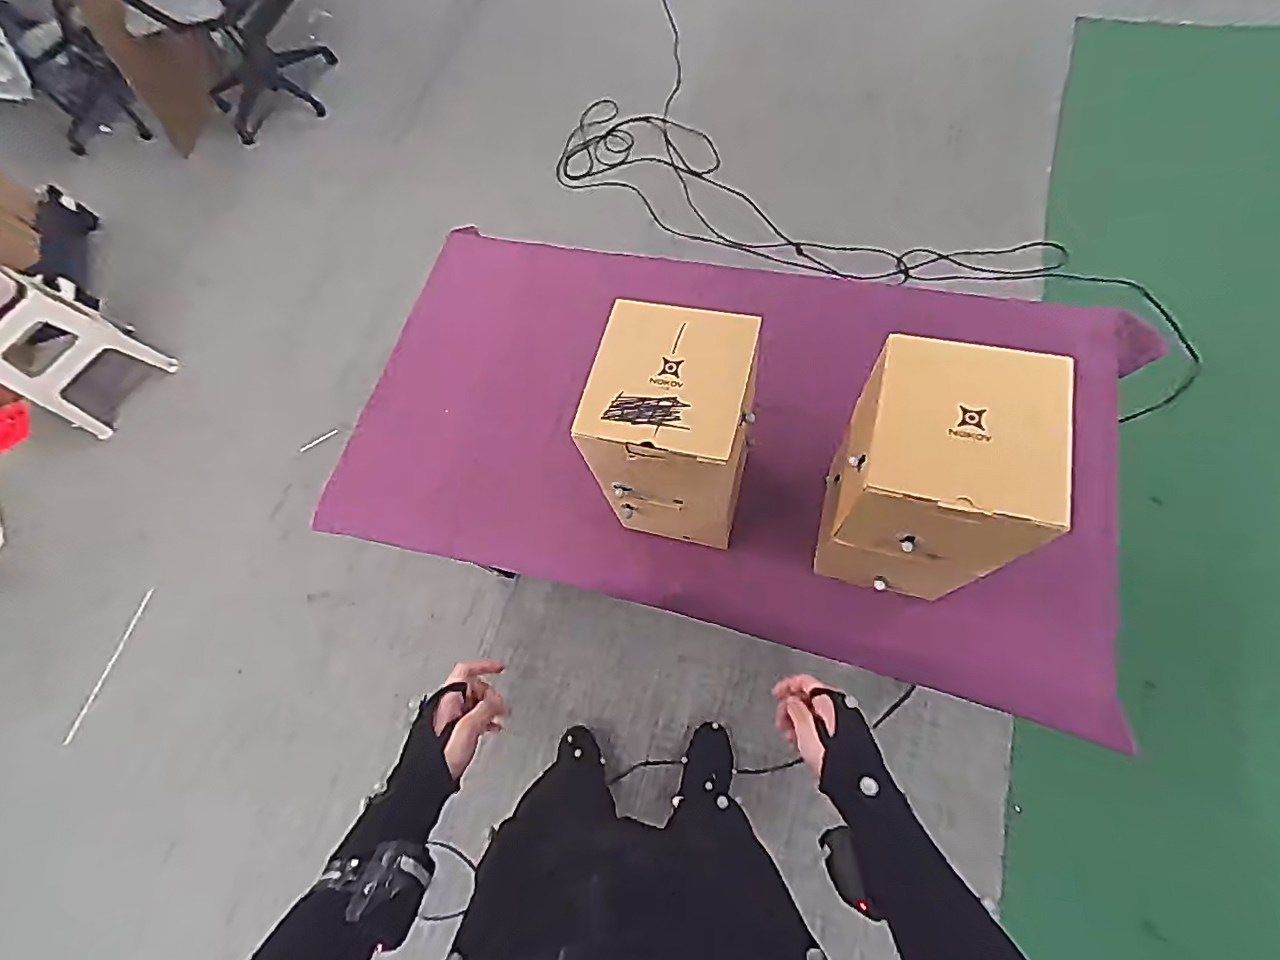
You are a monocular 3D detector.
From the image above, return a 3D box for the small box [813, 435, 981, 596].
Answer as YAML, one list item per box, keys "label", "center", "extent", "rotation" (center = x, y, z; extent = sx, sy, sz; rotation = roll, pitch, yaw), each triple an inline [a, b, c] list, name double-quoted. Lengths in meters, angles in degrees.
- label: "small box"
  center: [0.337, 0.040, 0.722]
  extent: [0.168, 0.176, 0.179]
  rotation: [13, 71, 13]

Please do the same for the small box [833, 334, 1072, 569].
- label: "small box"
  center: [0.314, -0.023, 0.573]
  extent: [0.168, 0.176, 0.179]
  rotation: [13, 71, 13]

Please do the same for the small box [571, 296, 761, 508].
- label: "small box"
  center: [0.040, -0.083, 0.635]
  extent: [0.168, 0.176, 0.179]
  rotation: [13, 70, 13]
